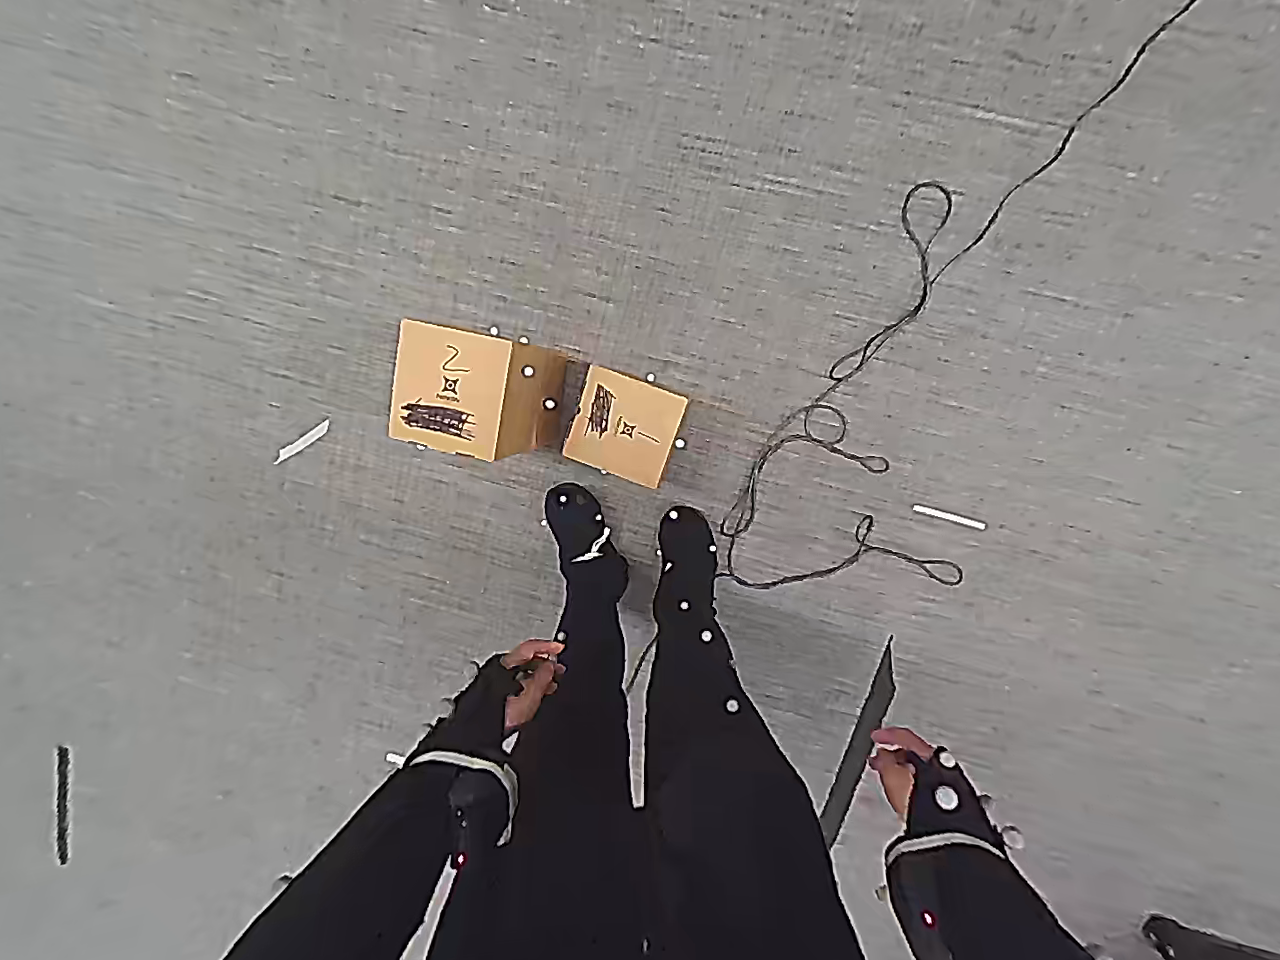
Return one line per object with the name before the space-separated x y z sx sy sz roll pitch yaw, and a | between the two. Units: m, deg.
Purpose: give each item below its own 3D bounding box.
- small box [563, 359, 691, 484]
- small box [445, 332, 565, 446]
small box | -0.017 -0.109 0.982 0.179 0.176 0.168 20 102 2
small box | -0.242 -0.169 1.001 0.168 0.176 0.179 8 101 5
